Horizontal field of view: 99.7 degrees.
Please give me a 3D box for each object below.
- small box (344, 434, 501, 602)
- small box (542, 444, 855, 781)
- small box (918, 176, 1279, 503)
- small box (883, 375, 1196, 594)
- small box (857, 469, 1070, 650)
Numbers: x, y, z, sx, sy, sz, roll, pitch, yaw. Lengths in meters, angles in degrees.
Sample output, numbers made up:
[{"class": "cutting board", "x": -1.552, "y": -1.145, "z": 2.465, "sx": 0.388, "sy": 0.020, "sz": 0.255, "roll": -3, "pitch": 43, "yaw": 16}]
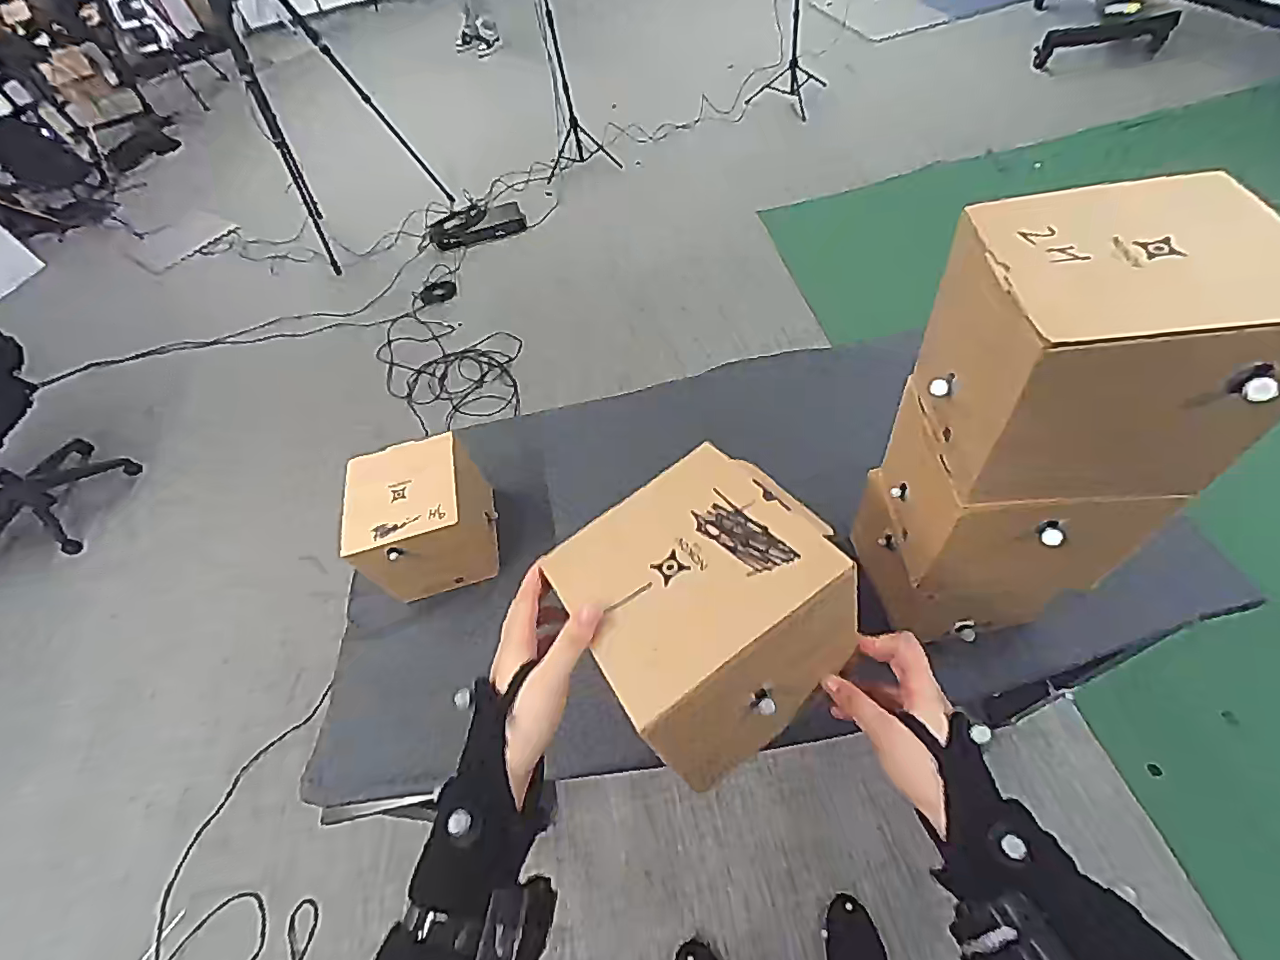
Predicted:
[{"class": "small box", "x": -0.327, "y": 0.062, "z": 0.843, "sx": 0.168, "sy": 0.176, "sz": 0.179, "roll": -16, "pitch": 54, "yaw": -1}, {"class": "small box", "x": 0.052, "y": 0.110, "z": 0.449, "sx": 0.179, "sy": 0.176, "sz": 0.168, "roll": -34, "pitch": 46, "yaw": -9}, {"class": "small box", "x": 0.339, "y": -0.096, "z": 0.412, "sx": 0.179, "sy": 0.176, "sz": 0.168, "roll": -4, "pitch": 53, "yaw": 11}, {"class": "small box", "x": 0.365, "y": 0.004, "z": 0.541, "sx": 0.179, "sy": 0.176, "sz": 0.168, "roll": -5, "pitch": 53, "yaw": 10}, {"class": "small box", "x": 0.390, "y": 0.088, "z": 0.678, "sx": 0.168, "sy": 0.176, "sz": 0.179, "roll": -14, "pitch": 52, "yaw": 3}]
